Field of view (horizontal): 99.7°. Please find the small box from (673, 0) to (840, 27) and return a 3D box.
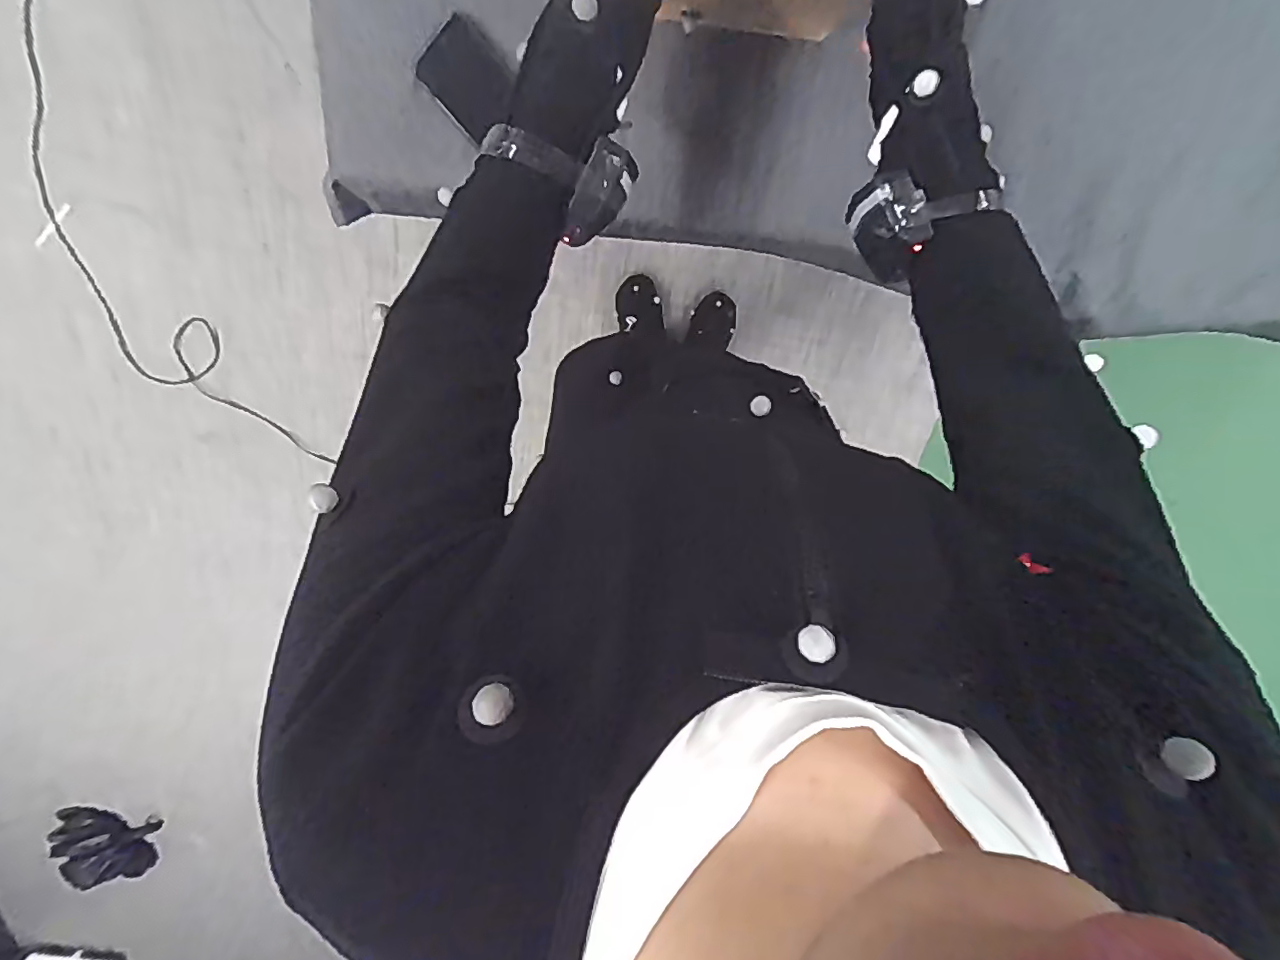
[{"bbox_3d":[0.104,-0.483,0.413,0.168,0.176,0.179,5,115,-2],"label":"small box"}]
